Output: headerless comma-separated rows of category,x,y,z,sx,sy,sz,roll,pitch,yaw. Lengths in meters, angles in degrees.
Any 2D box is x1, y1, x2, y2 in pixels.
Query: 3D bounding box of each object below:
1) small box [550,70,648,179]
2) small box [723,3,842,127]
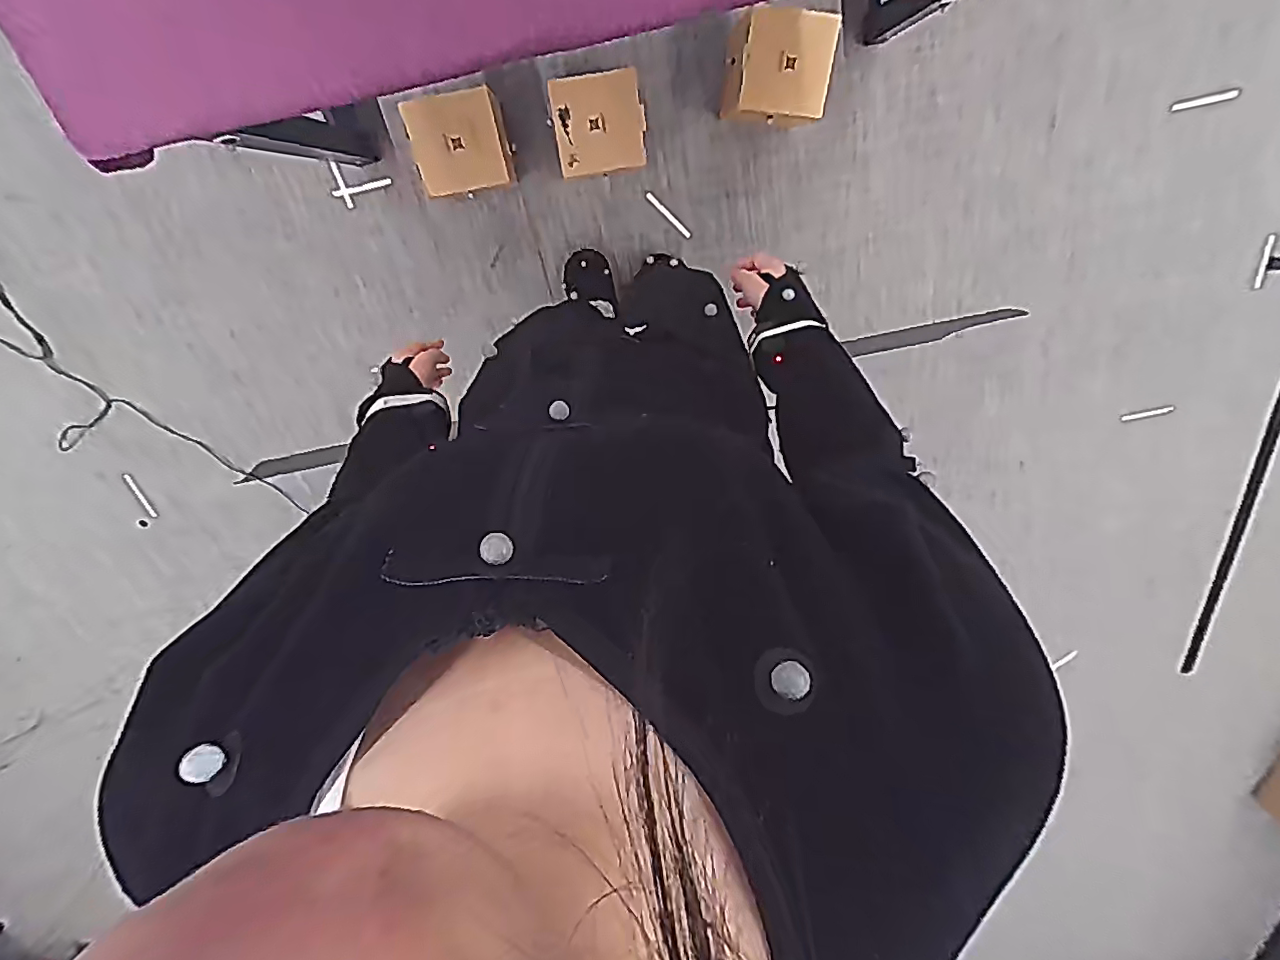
small box,-0.084,-0.735,1.131,0.179,0.176,0.168,-8,118,0
small box,0.281,-0.837,1.108,0.179,0.176,0.168,3,117,-5
